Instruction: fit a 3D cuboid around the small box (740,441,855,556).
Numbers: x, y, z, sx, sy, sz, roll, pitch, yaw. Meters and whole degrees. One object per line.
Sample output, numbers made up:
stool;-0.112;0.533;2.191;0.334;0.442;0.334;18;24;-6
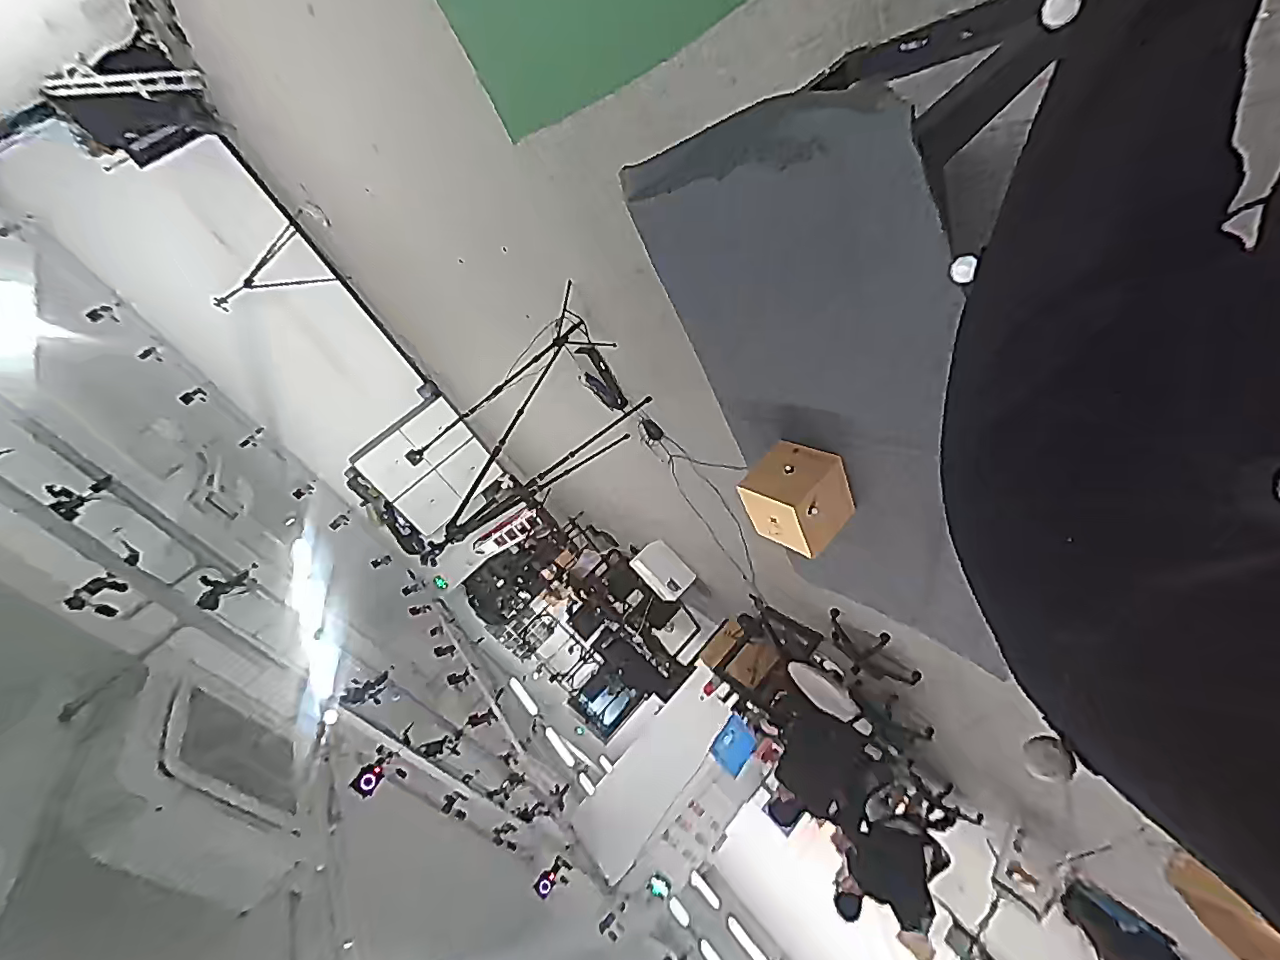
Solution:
small box;0.365;0.035;1.240;0.168;0.176;0.179;25;154;50
